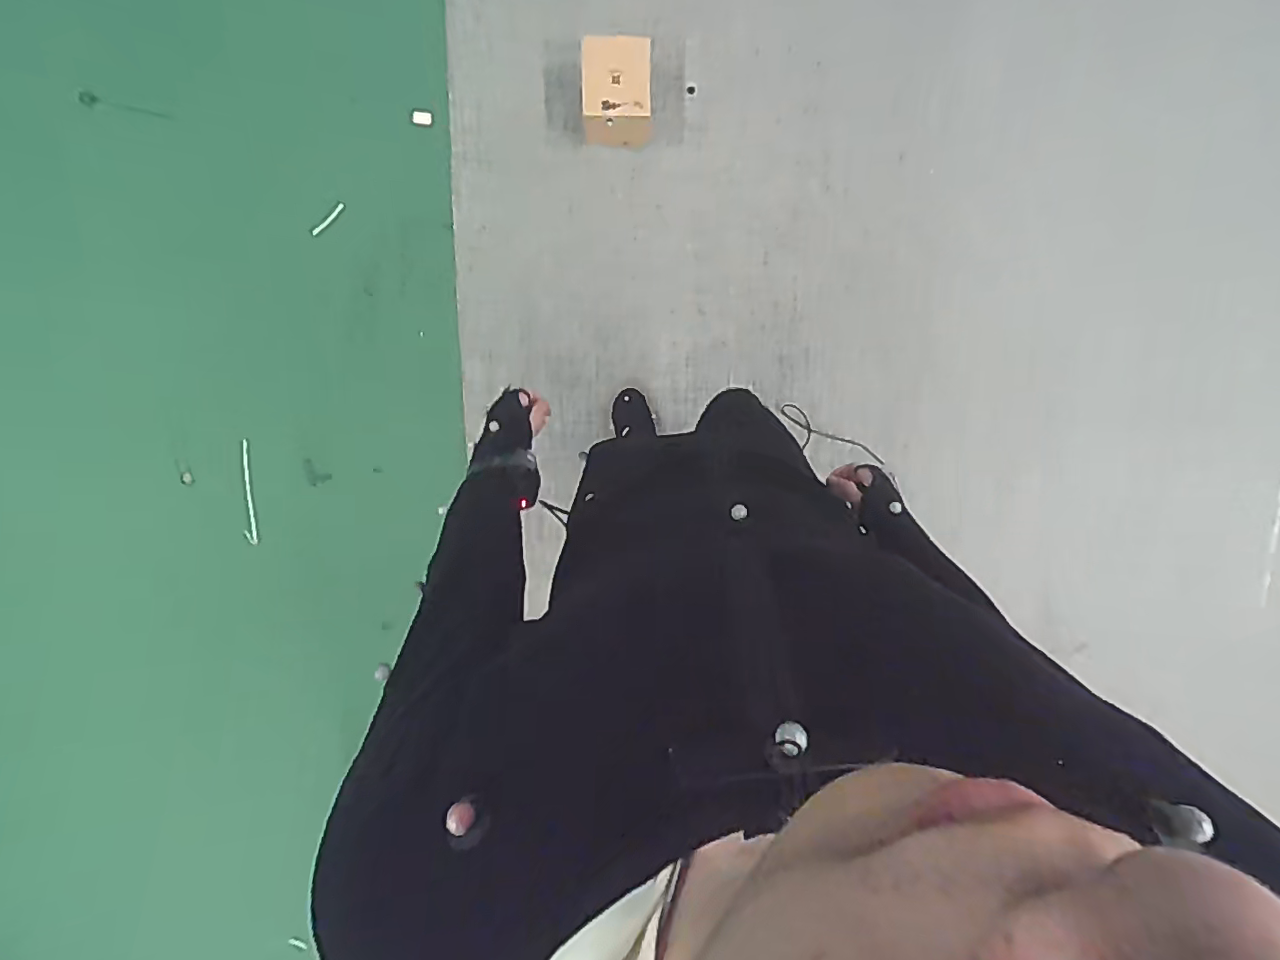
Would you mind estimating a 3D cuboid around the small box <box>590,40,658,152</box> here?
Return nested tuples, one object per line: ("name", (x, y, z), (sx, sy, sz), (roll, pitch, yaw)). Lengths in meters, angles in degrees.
("small box", (-0.040, -0.971, 1.378), (0.168, 0.176, 0.179), (1, 98, 0))
